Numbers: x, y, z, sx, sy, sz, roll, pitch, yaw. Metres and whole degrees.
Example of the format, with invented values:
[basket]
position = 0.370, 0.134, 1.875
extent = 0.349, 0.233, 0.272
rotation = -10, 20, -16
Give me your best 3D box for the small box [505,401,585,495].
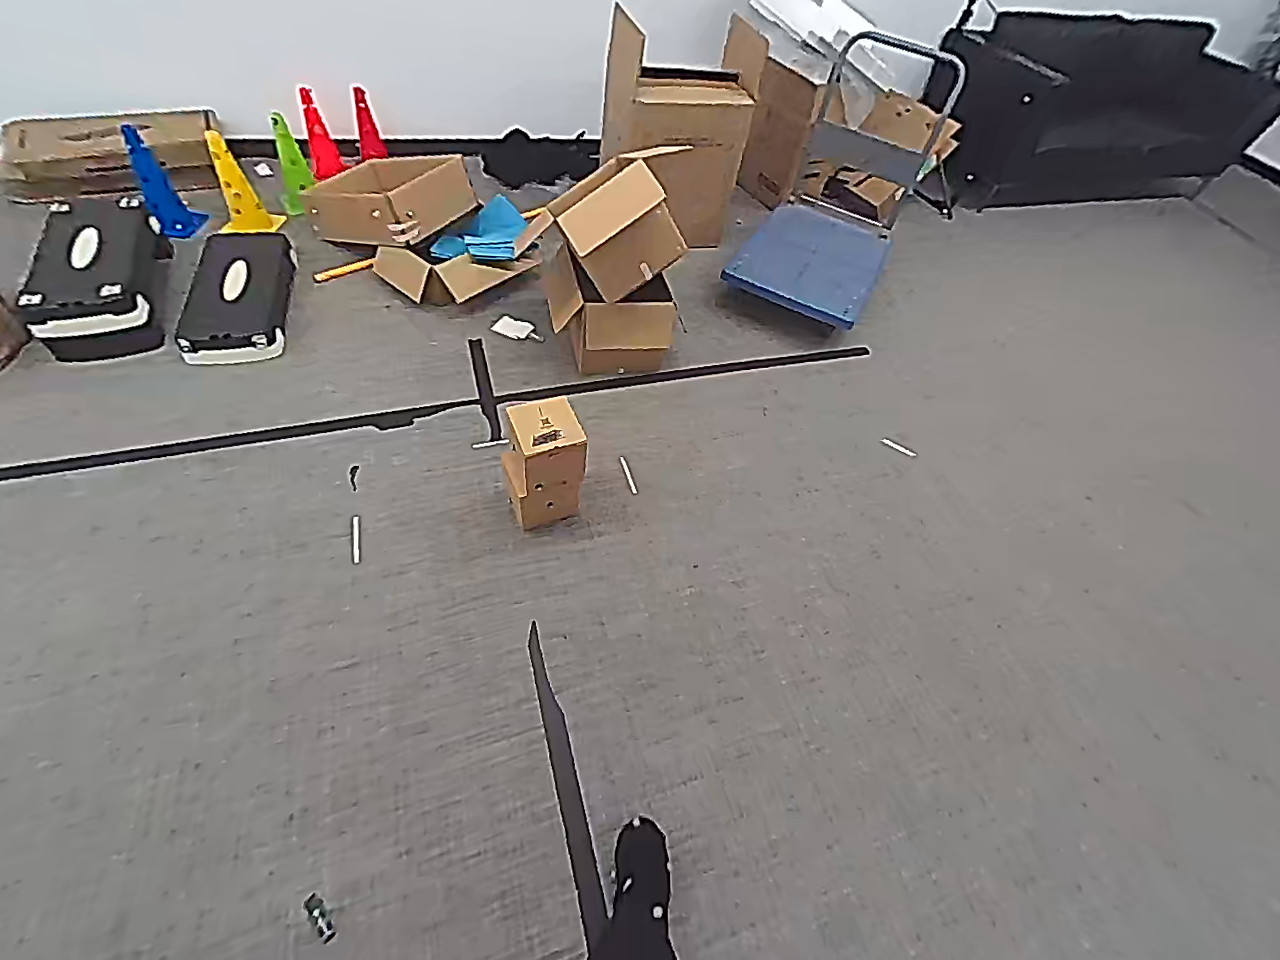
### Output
[small box]
position = -0.252, -0.078, 1.444
extent = 0.168, 0.176, 0.179
rotation = -15, 55, -20
